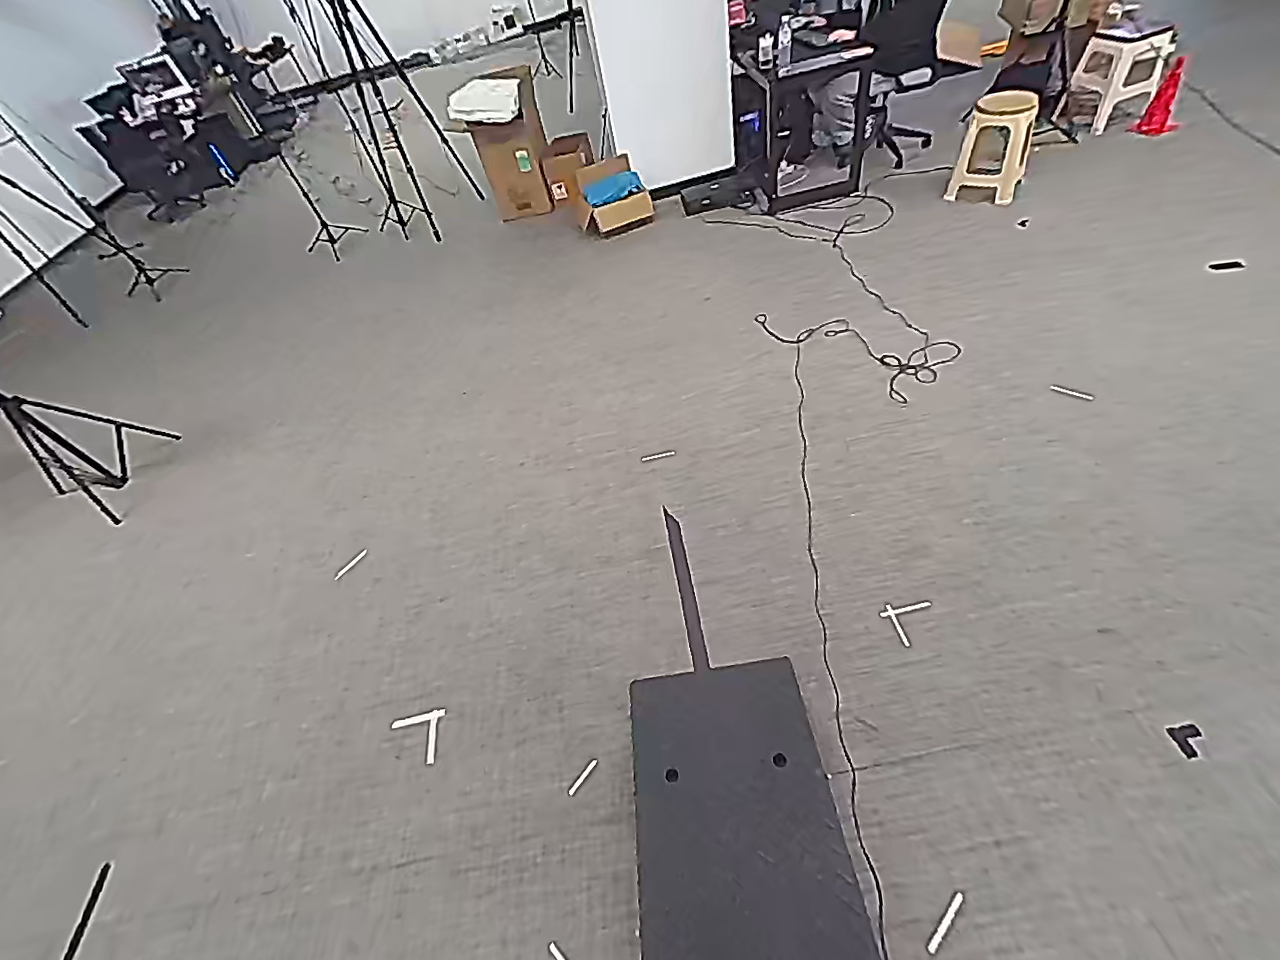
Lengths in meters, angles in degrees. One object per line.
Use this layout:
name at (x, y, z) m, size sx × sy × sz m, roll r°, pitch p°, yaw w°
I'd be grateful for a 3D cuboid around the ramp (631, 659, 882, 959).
ramp at (0.232, 0.886, 1.245) m, size 0.509 × 0.206 × 0.991 m, roll -13°, pitch 47°, yaw 4°
